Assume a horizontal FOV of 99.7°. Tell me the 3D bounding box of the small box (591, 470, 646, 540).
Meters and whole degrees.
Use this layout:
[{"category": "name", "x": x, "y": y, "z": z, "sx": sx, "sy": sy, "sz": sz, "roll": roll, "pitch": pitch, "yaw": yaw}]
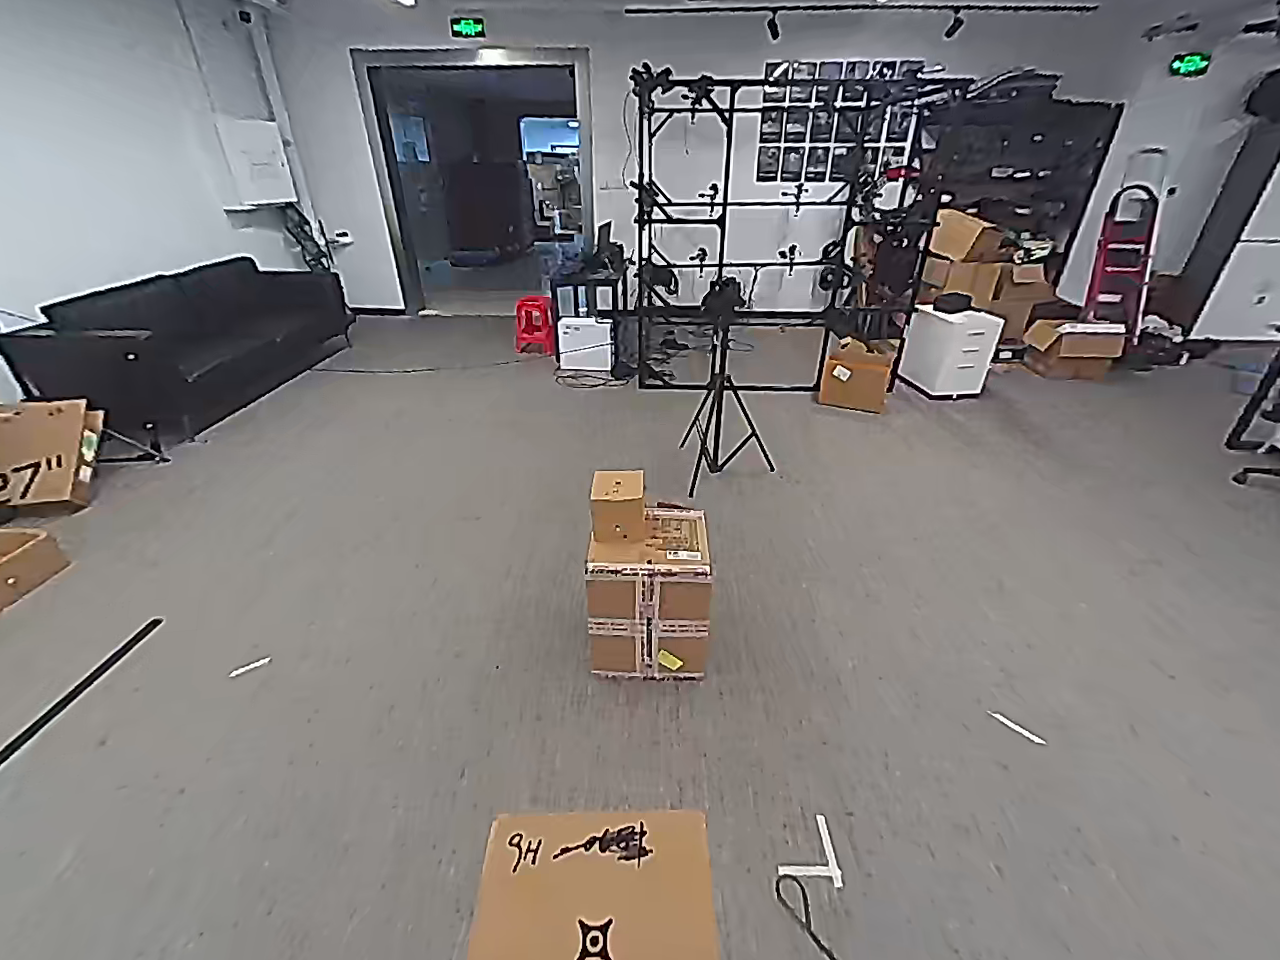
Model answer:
[{"category": "small box", "x": -0.068, "y": 0.082, "z": 1.799, "sx": 0.168, "sy": 0.176, "sz": 0.179, "roll": -2, "pitch": 32, "yaw": 2}]
